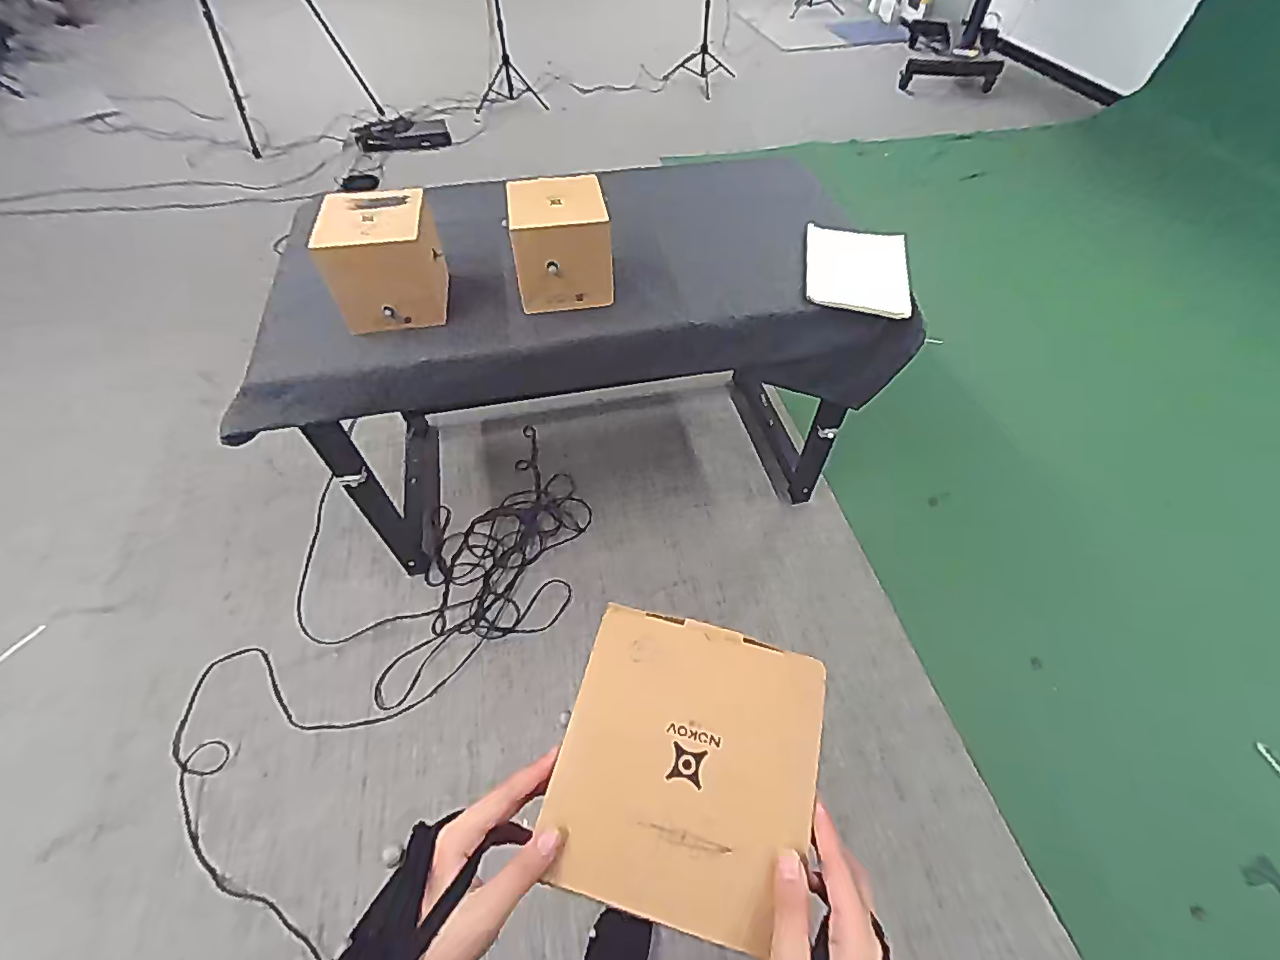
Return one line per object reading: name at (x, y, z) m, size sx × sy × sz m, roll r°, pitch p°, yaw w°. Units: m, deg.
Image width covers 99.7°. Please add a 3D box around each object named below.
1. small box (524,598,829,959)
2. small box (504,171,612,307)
small box at (0.030, 0.218, 0.413) m, size 0.168 × 0.176 × 0.179 m, roll 14°, pitch 59°, yaw 8°
small box at (-0.147, -0.431, 0.986) m, size 0.168 × 0.176 × 0.179 m, roll -9°, pitch 53°, yaw -6°
